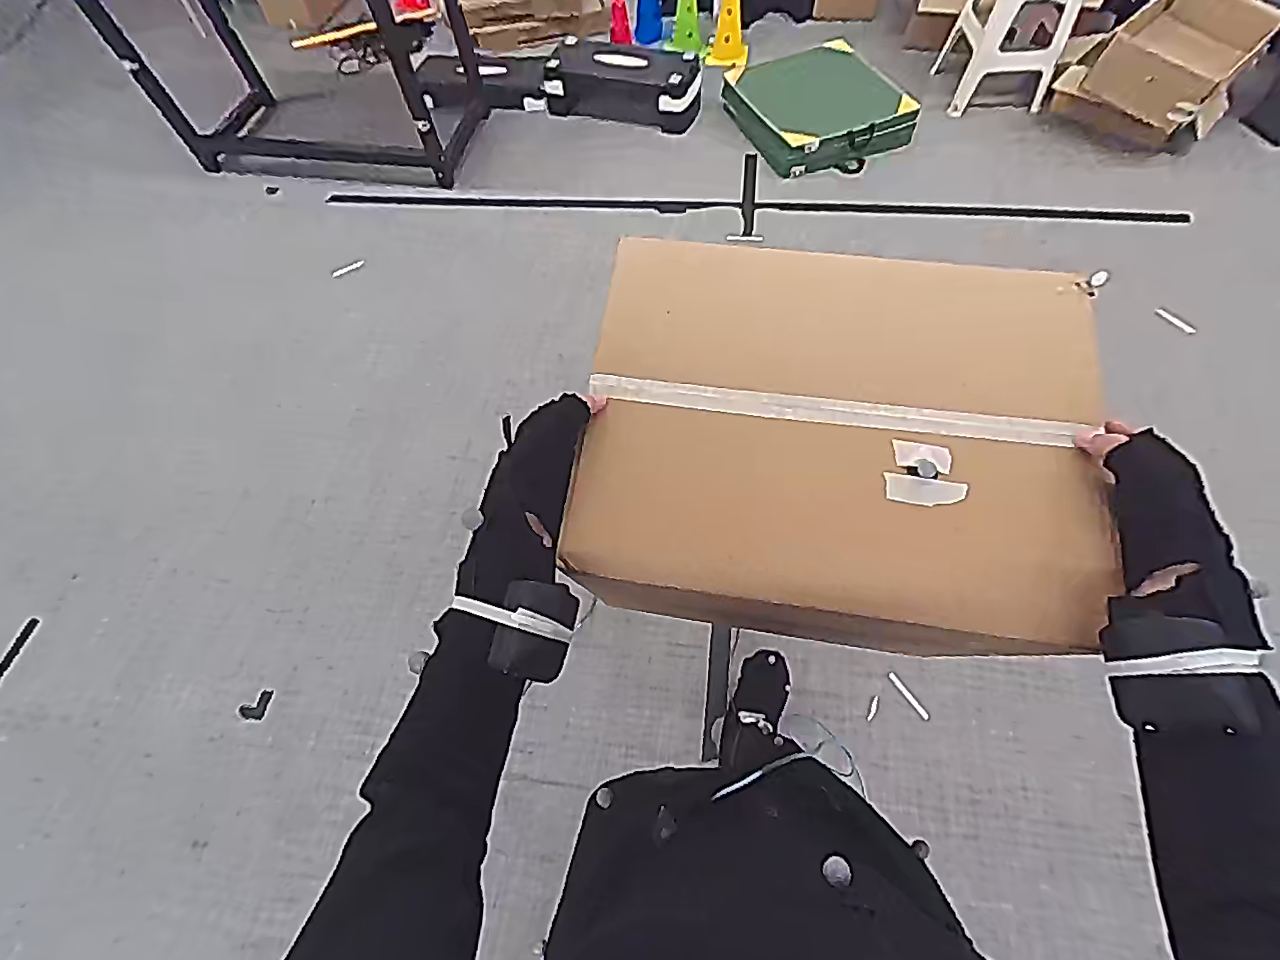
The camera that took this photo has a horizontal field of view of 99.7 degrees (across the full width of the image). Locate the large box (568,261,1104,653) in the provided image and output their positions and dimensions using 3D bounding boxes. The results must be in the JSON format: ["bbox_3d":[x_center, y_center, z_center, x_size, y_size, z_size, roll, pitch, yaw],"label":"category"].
[{"bbox_3d":[0.163,0.002,0.589,0.408,0.320,0.320,7,73,5],"label":"large box"}]
